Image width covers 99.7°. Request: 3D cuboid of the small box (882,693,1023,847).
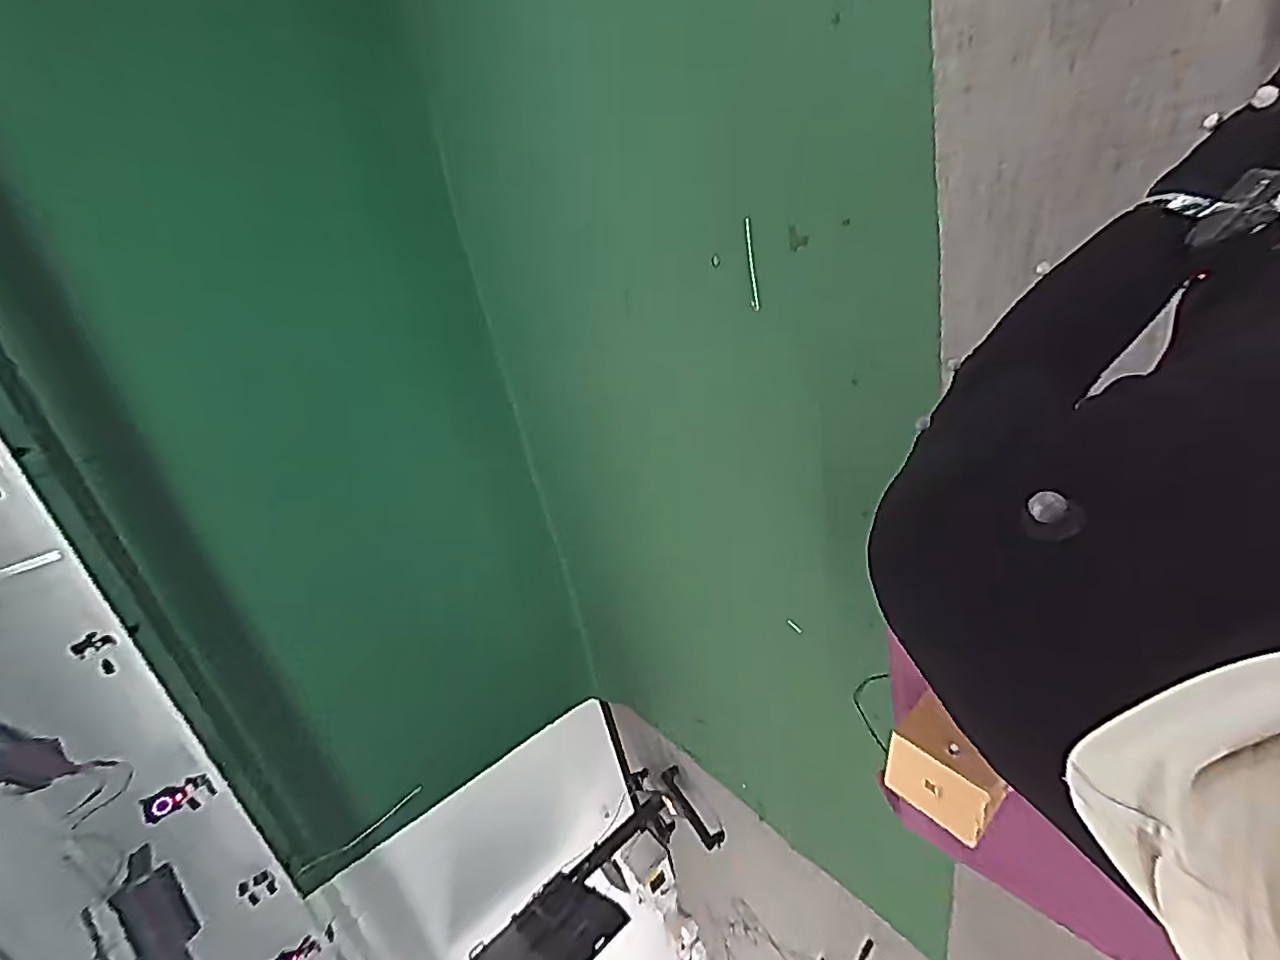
[{"bbox_3d":[0.609,0.554,1.064,0.179,0.176,0.168,25,131,45],"label":"small box"}]
